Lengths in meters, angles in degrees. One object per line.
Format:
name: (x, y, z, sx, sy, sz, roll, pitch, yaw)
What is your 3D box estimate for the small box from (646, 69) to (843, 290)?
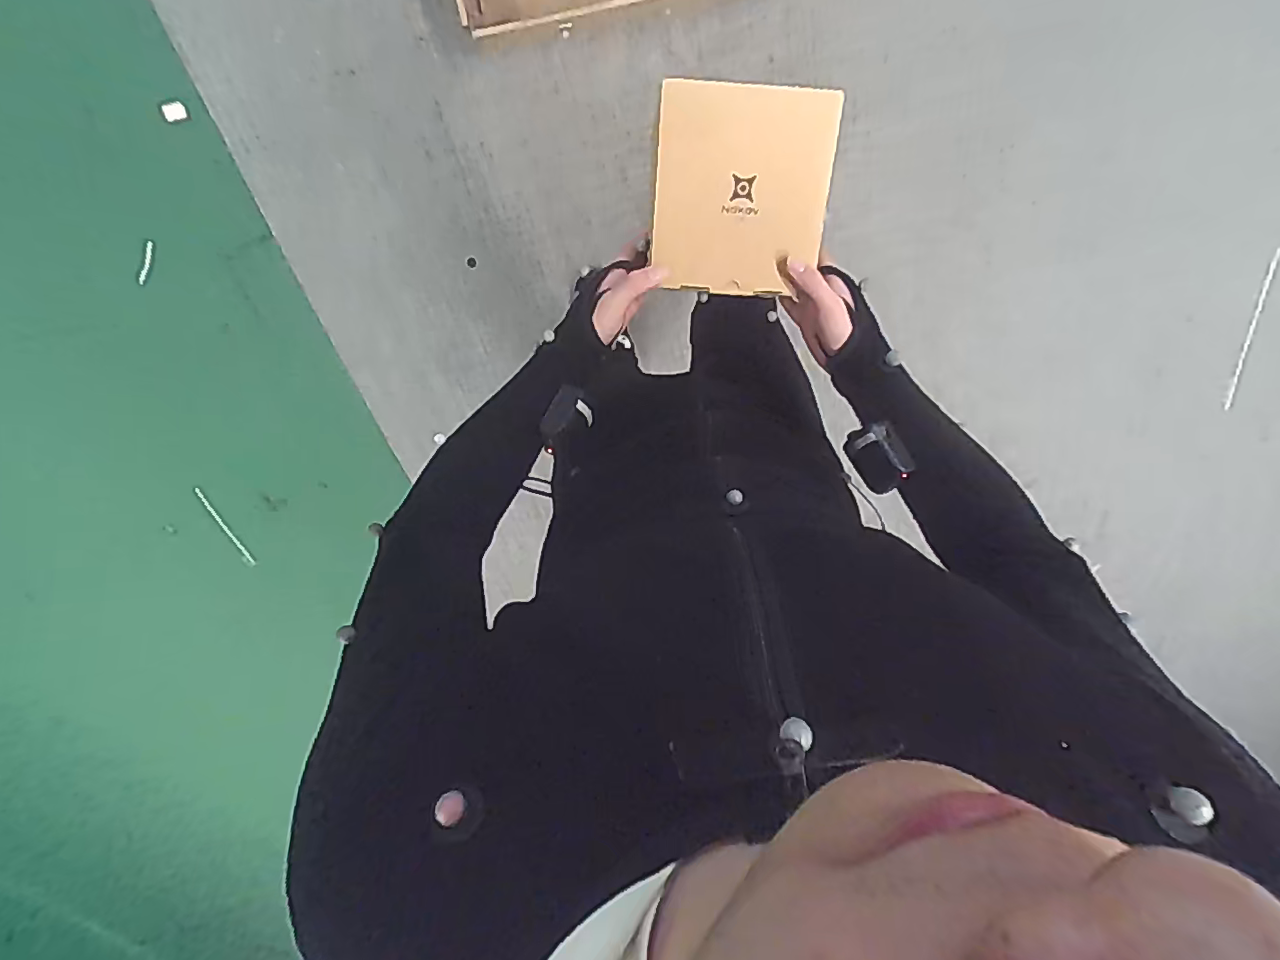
small box: (0.094, -0.300, 0.577, 0.168, 0.176, 0.179, 2, 110, -1)
